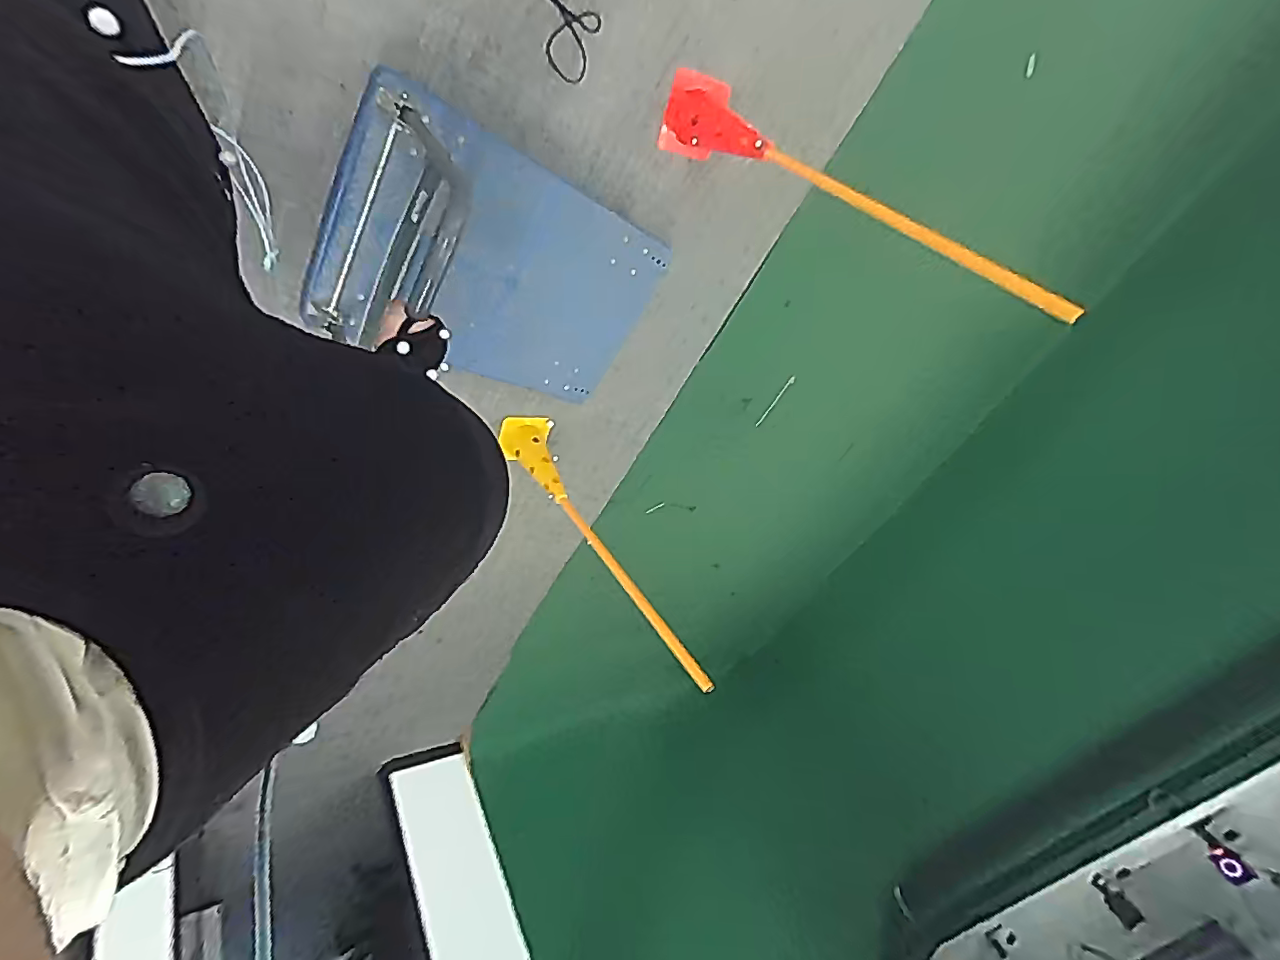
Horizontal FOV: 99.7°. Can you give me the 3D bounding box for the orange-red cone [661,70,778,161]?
[{"bbox_3d":[0.247,-0.946,1.474,0.198,0.360,0.199,-8,134,-35],"label":"orange-red cone"}]
